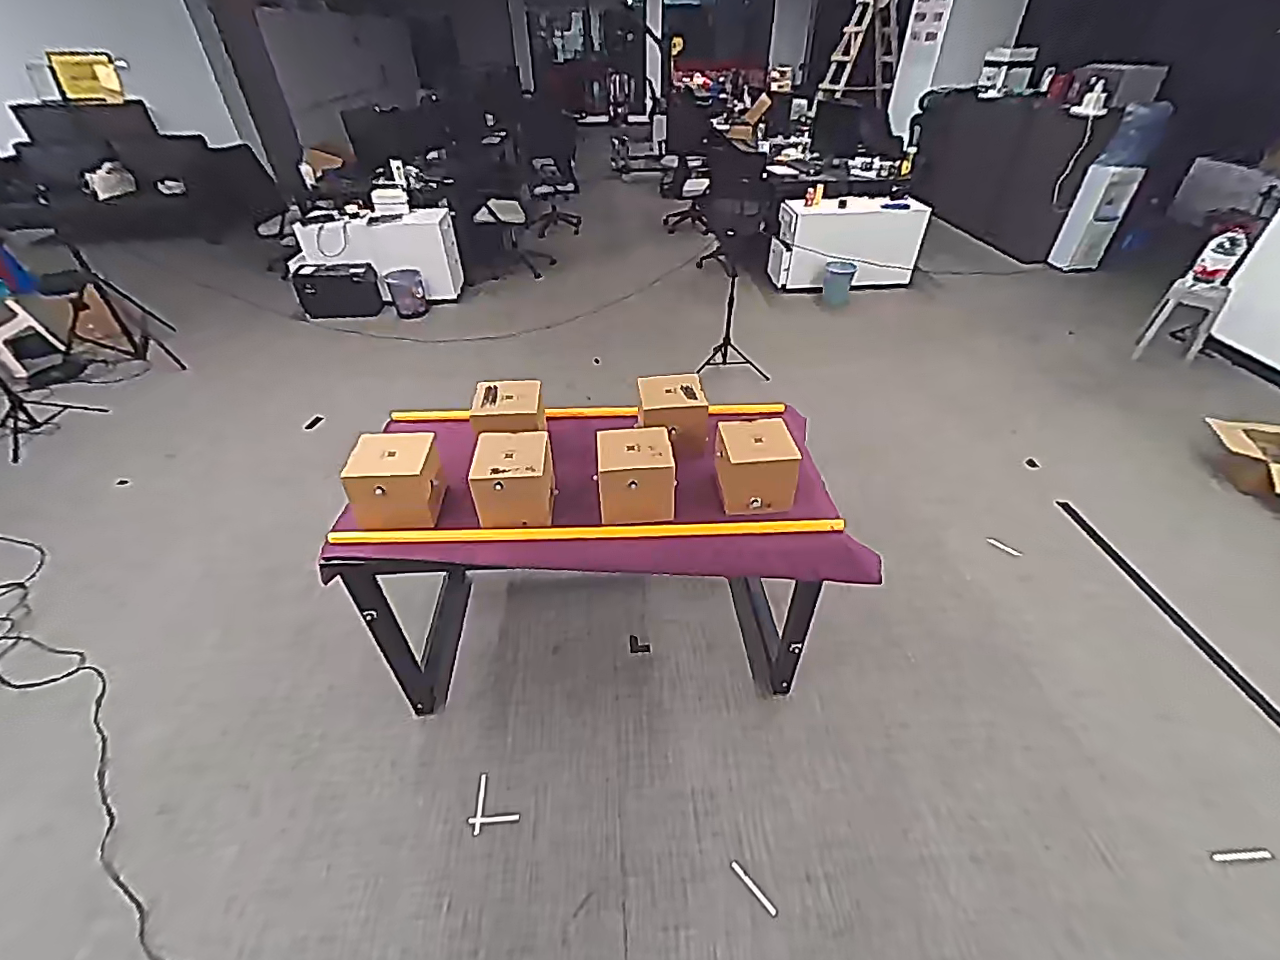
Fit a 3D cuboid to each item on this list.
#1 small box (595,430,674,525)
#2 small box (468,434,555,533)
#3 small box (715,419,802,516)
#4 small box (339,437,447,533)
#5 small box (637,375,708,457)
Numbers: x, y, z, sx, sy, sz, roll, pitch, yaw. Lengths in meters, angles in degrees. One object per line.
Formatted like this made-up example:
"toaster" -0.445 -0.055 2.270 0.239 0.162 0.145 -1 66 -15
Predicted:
"small box" -0.014 -0.005 1.309 0.179 0.176 0.168 -4 38 -4
"small box" -0.300 0.008 1.301 0.168 0.176 0.179 -3 39 -2
"small box" 0.283 -0.032 1.334 0.168 0.176 0.179 -5 38 -2
"small box" -0.580 0.013 1.300 0.179 0.176 0.168 -3 39 -3
"small box" 0.086 -0.174 1.512 0.179 0.176 0.168 -5 41 -4
